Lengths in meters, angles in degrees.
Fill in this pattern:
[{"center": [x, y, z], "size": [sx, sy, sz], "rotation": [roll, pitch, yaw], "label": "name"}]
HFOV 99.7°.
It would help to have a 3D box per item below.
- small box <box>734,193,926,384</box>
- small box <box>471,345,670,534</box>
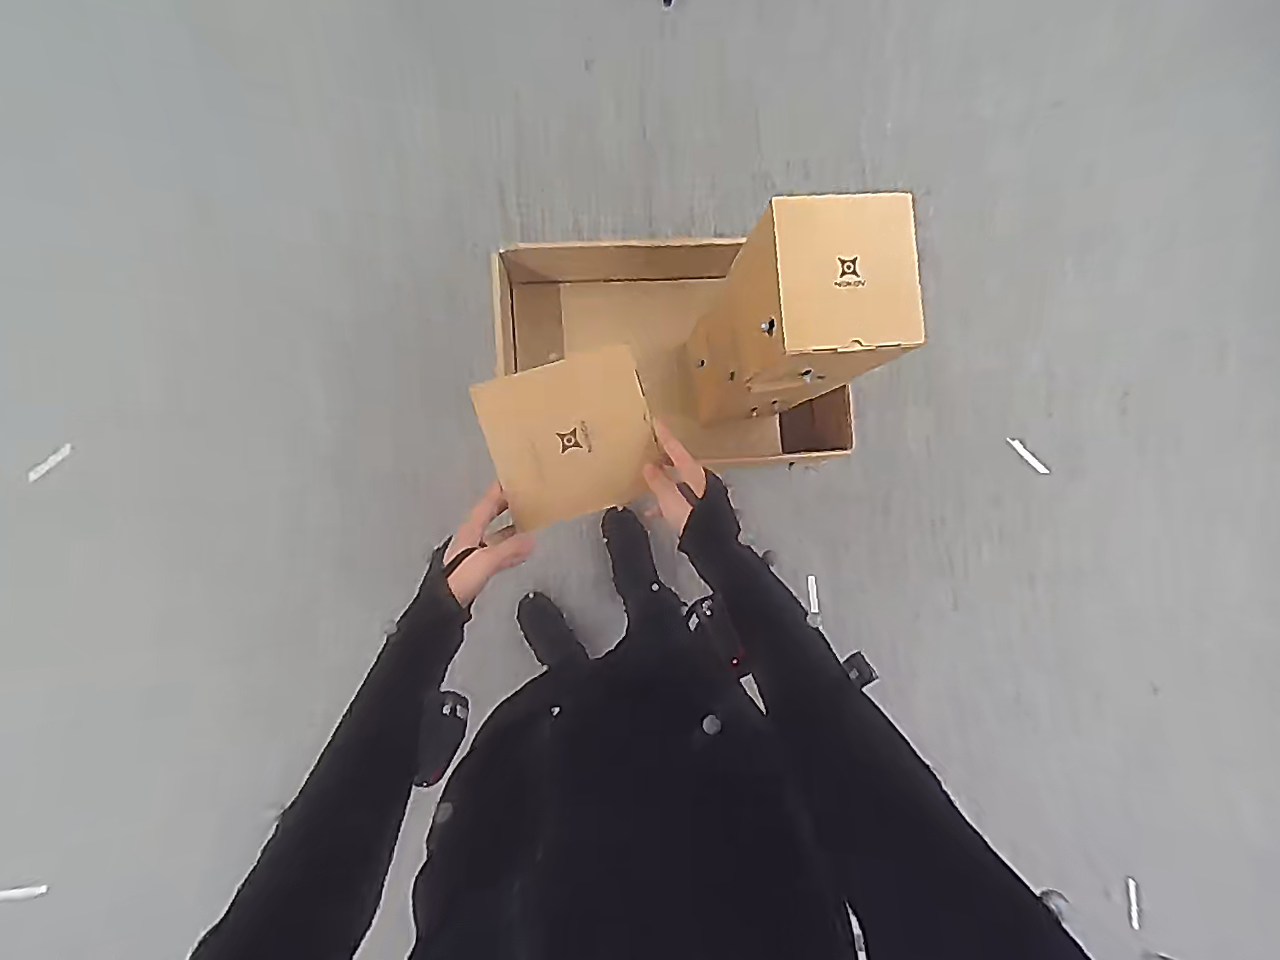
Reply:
[{"center": [0.222, -0.227, 0.674], "size": [0.168, 0.176, 0.179], "rotation": [-5, 89, -5], "label": "small box"}, {"center": [-0.078, -0.052, 0.647], "size": [0.179, 0.176, 0.168], "rotation": [-17, 98, -3], "label": "small box"}]
